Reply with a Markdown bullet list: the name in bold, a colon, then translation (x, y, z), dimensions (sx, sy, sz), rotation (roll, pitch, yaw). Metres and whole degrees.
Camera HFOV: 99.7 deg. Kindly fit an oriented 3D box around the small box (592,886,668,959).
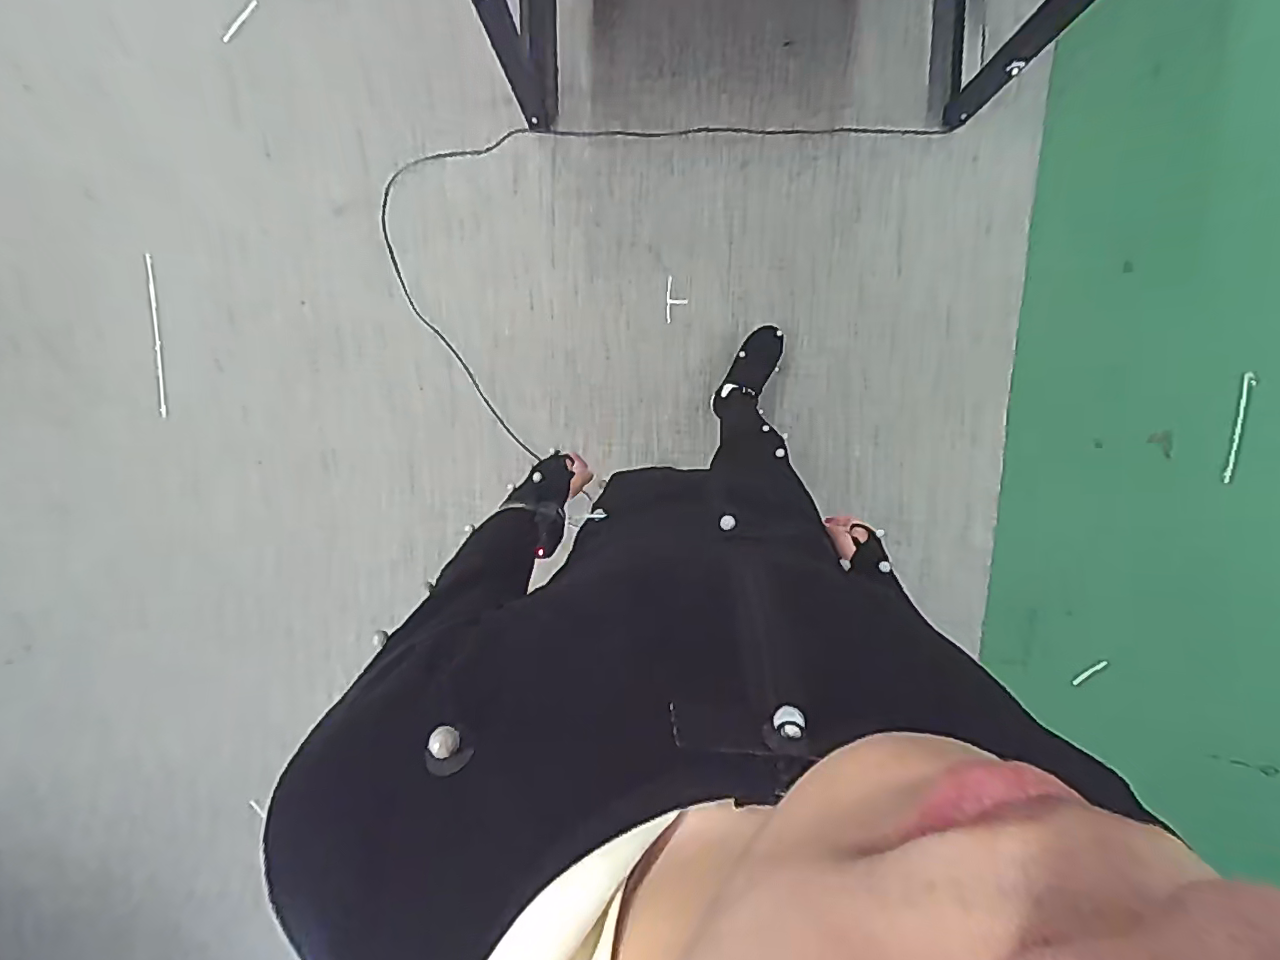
- **small box**: translation (-0.023, 1.094, 1.247), dimensions (0.168, 0.176, 0.179), rotation (5, 96, 2)
